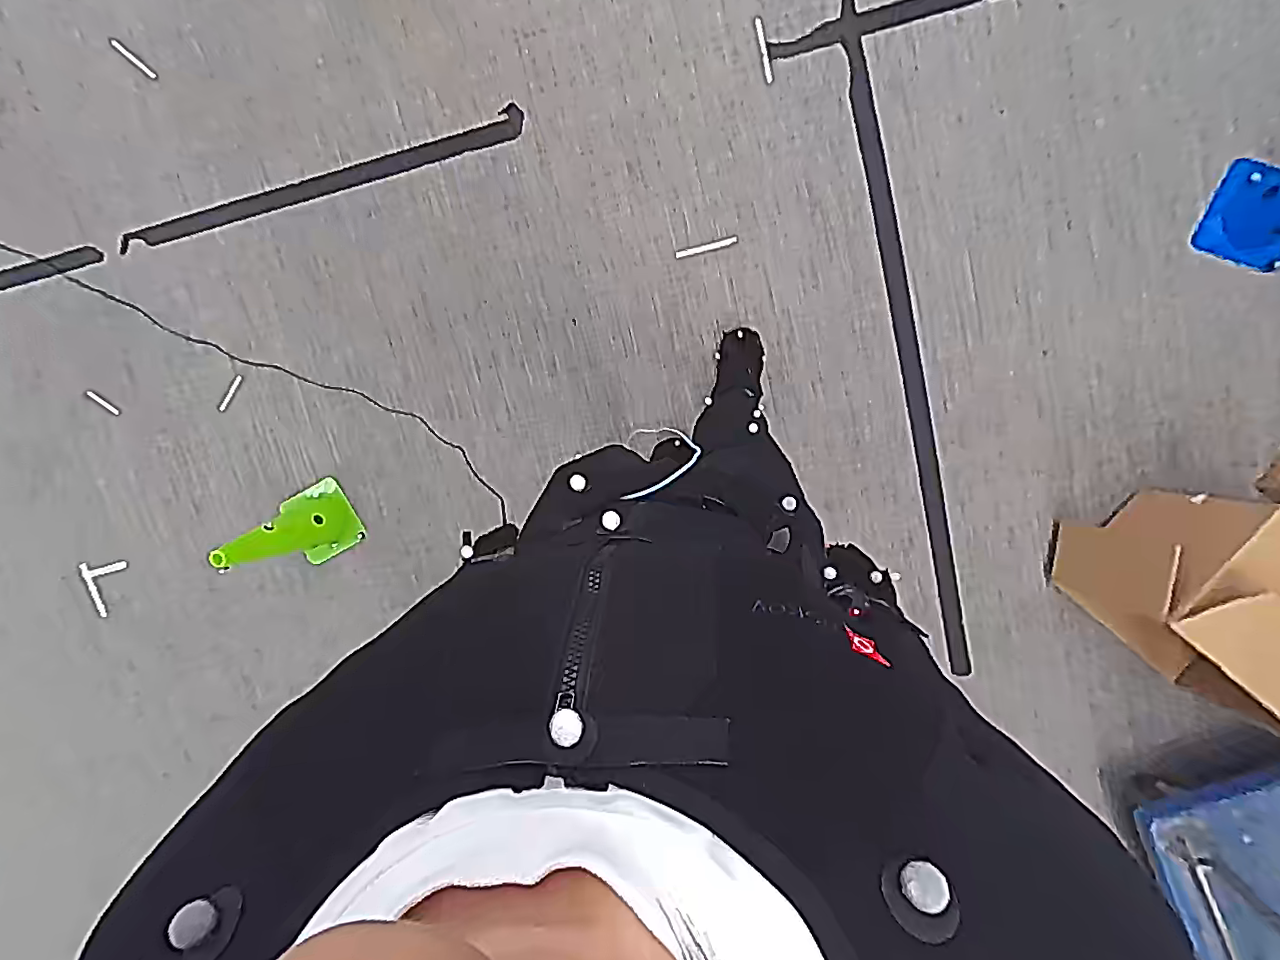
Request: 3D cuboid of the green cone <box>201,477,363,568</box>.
[{"bbox_3d":[-0.920,0.140,1.358,0.202,0.368,0.200,-28,95,10],"label":"green cone"}]
